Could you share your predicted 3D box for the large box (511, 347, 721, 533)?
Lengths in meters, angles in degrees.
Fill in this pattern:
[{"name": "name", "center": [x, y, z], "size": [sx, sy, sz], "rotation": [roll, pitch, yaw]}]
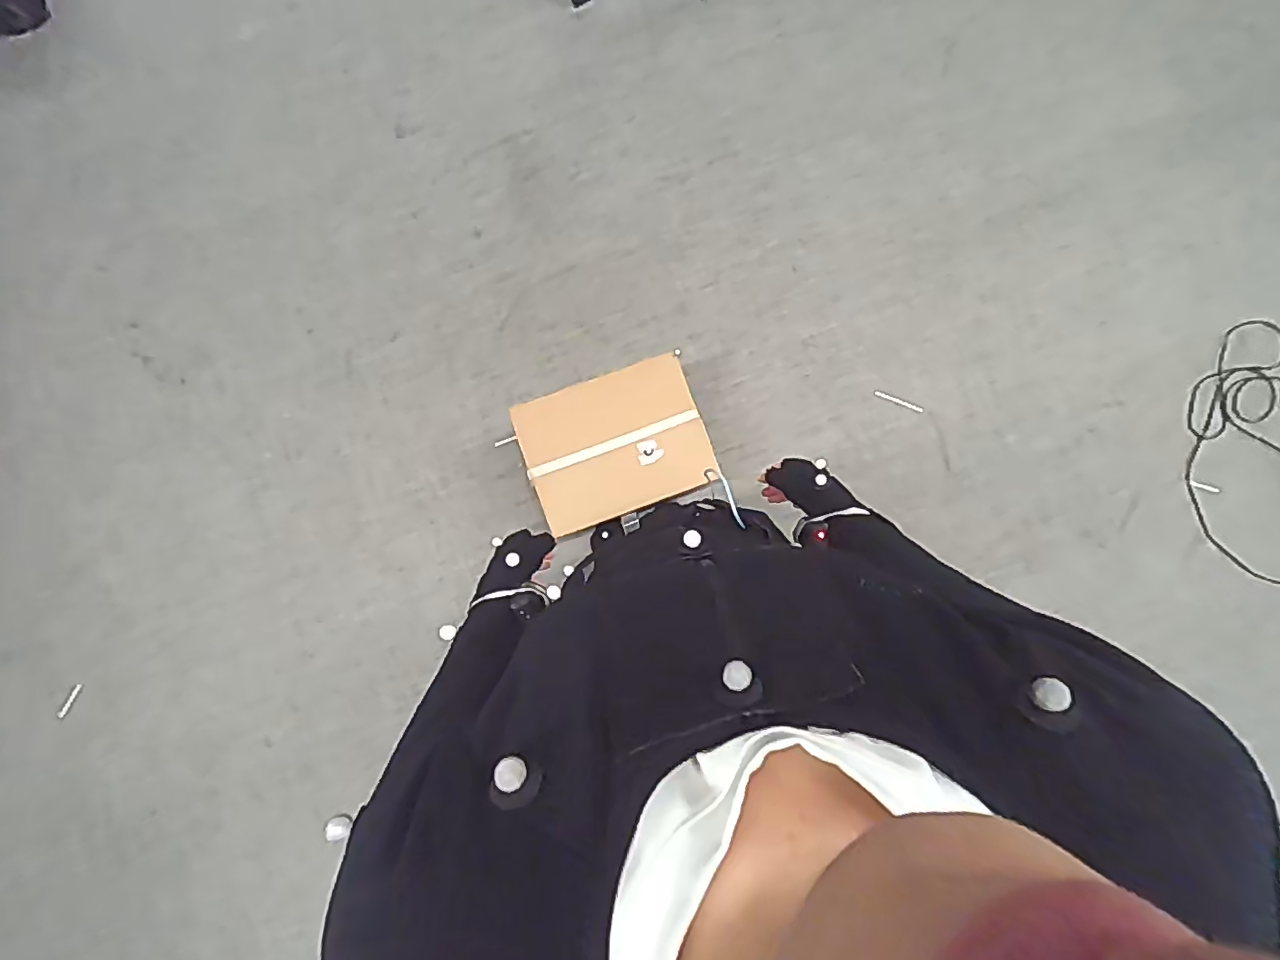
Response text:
[{"name": "large box", "center": [-0.055, -0.080, 1.359], "size": [0.408, 0.320, 0.320], "rotation": [-20, 87, -2]}]
